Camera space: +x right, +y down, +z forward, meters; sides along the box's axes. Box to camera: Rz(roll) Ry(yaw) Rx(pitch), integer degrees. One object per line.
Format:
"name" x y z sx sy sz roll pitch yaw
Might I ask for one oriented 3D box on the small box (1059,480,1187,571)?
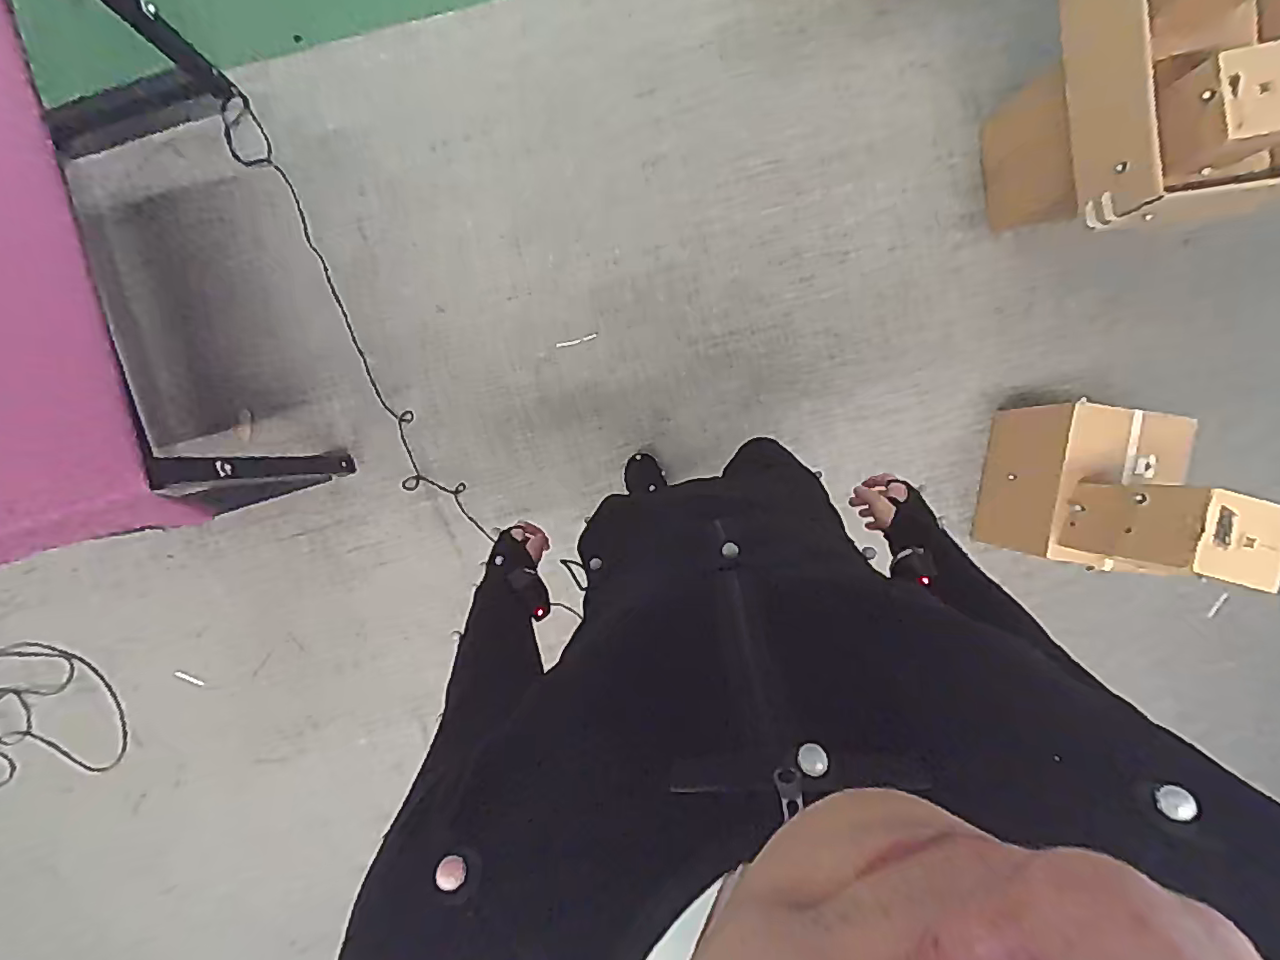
"small box" 1.142 0.097 1.259 0.179 0.176 0.168 15 92 0

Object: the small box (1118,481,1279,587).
"small box" 1.136 0.101 1.096 0.179 0.176 0.168 15 92 -1

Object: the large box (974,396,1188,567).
"large box" 1.191 0.002 1.499 0.320 0.320 0.408 8 92 -2
